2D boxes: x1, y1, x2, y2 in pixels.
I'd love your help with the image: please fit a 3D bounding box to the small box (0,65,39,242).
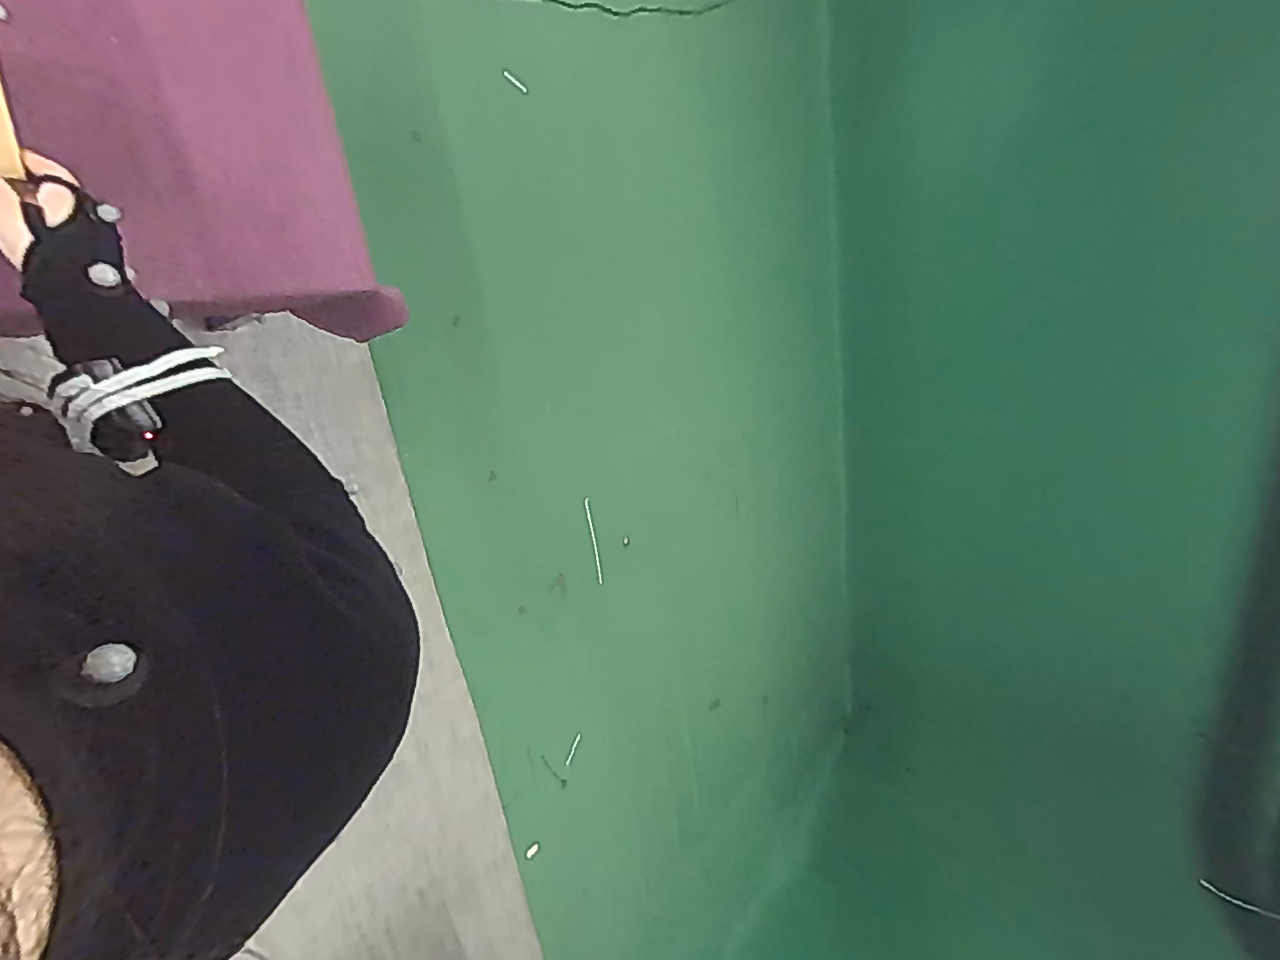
[{"bbox_3d":[-0.587,-0.291,0.400,0.168,0.176,0.179,-16,103,-45],"label":"small box"}]
